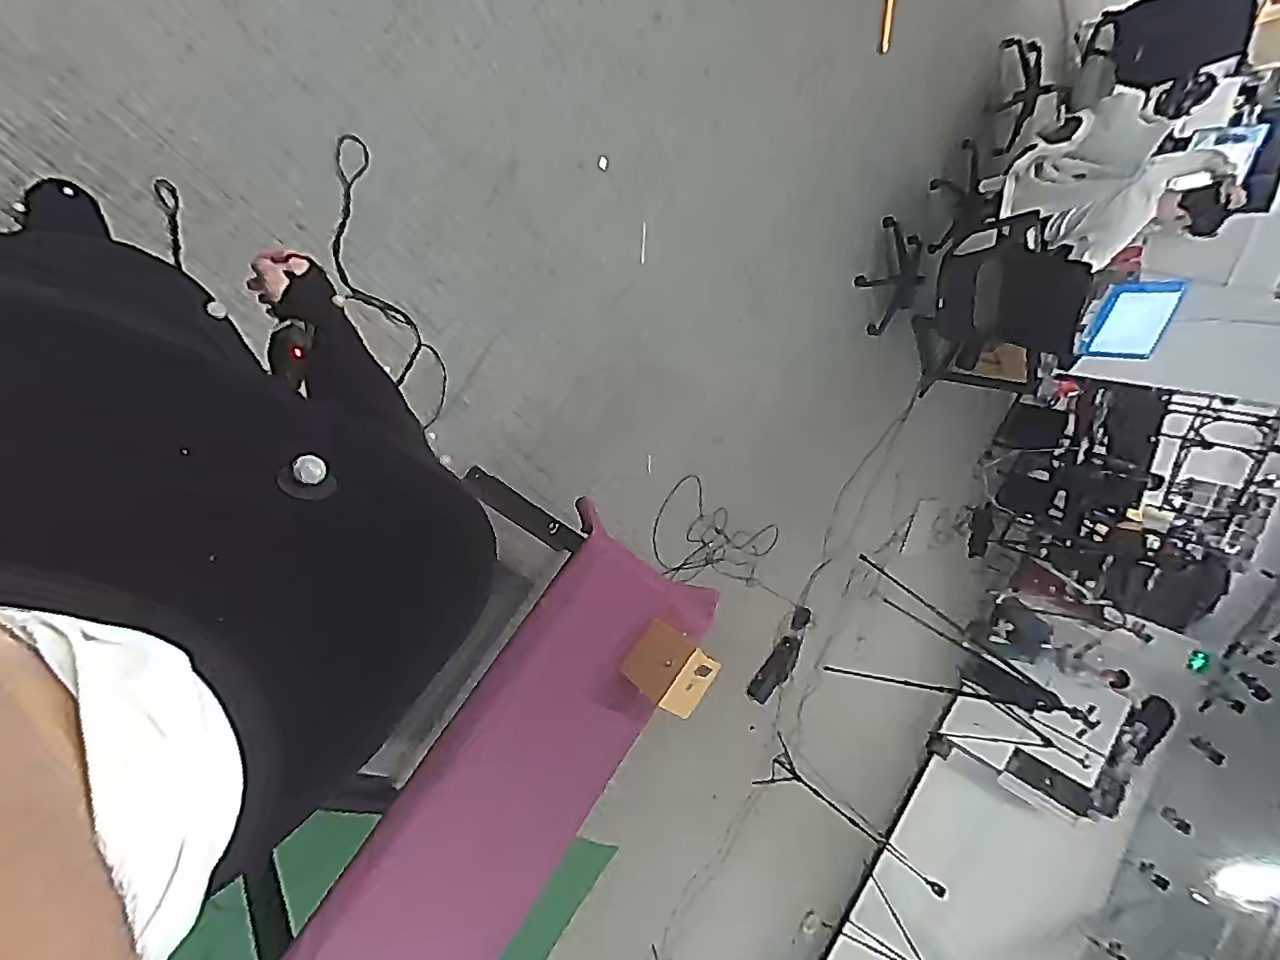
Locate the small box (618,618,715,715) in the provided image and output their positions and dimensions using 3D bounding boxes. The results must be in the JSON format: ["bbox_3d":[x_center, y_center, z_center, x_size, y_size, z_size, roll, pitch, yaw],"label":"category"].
[{"bbox_3d":[0.071,0.511,1.497,0.179,0.176,0.168,-53,135,-10],"label":"small box"}]
